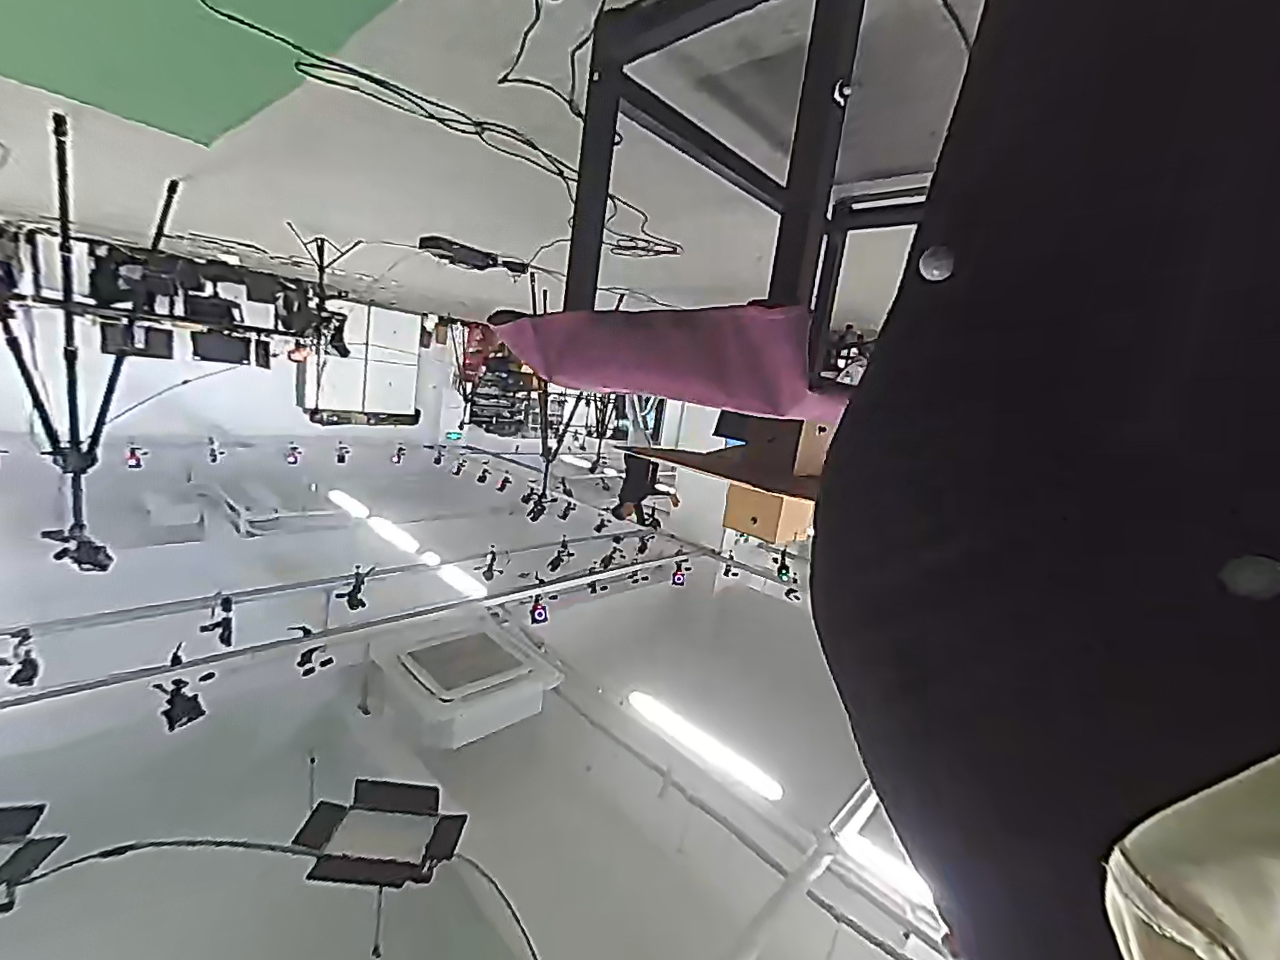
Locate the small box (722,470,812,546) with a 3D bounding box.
[{"bbox_3d":[0.353,0.070,1.484,0.168,0.176,0.179,1,-168,-45],"label":"small box"}]
